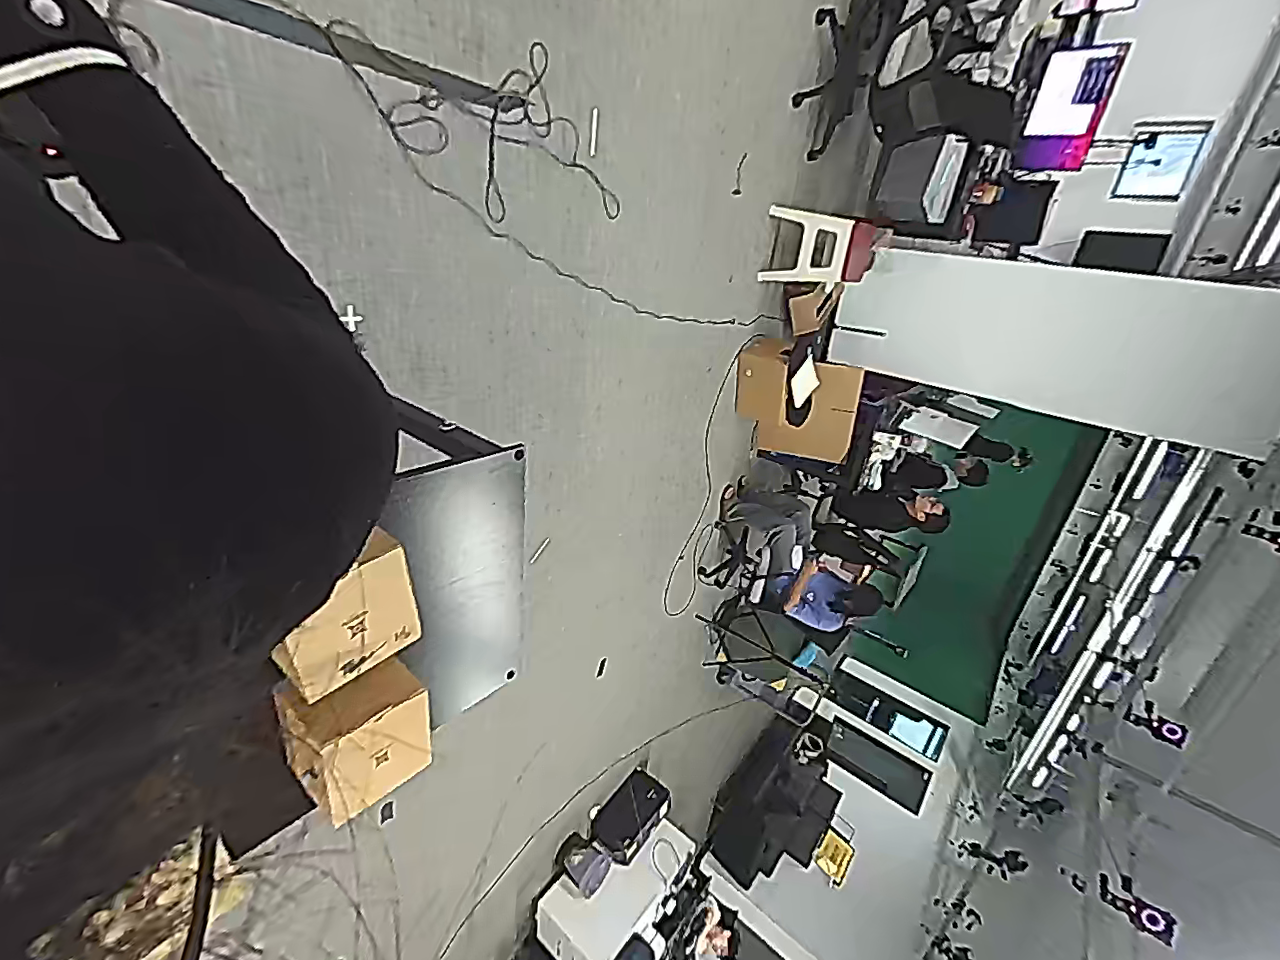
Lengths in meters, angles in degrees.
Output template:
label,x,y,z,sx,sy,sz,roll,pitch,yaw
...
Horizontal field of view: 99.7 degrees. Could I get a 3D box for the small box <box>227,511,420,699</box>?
label,x,y,z,sx,sy,sz,roll,pitch,yaw
small box,-0.445,0.161,0.768,0.168,0.176,0.179,-30,132,-43

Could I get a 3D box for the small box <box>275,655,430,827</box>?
label,x,y,z,sx,sy,sz,roll,pitch,yaw
small box,-0.467,0.404,0.888,0.168,0.176,0.179,-22,126,-48
